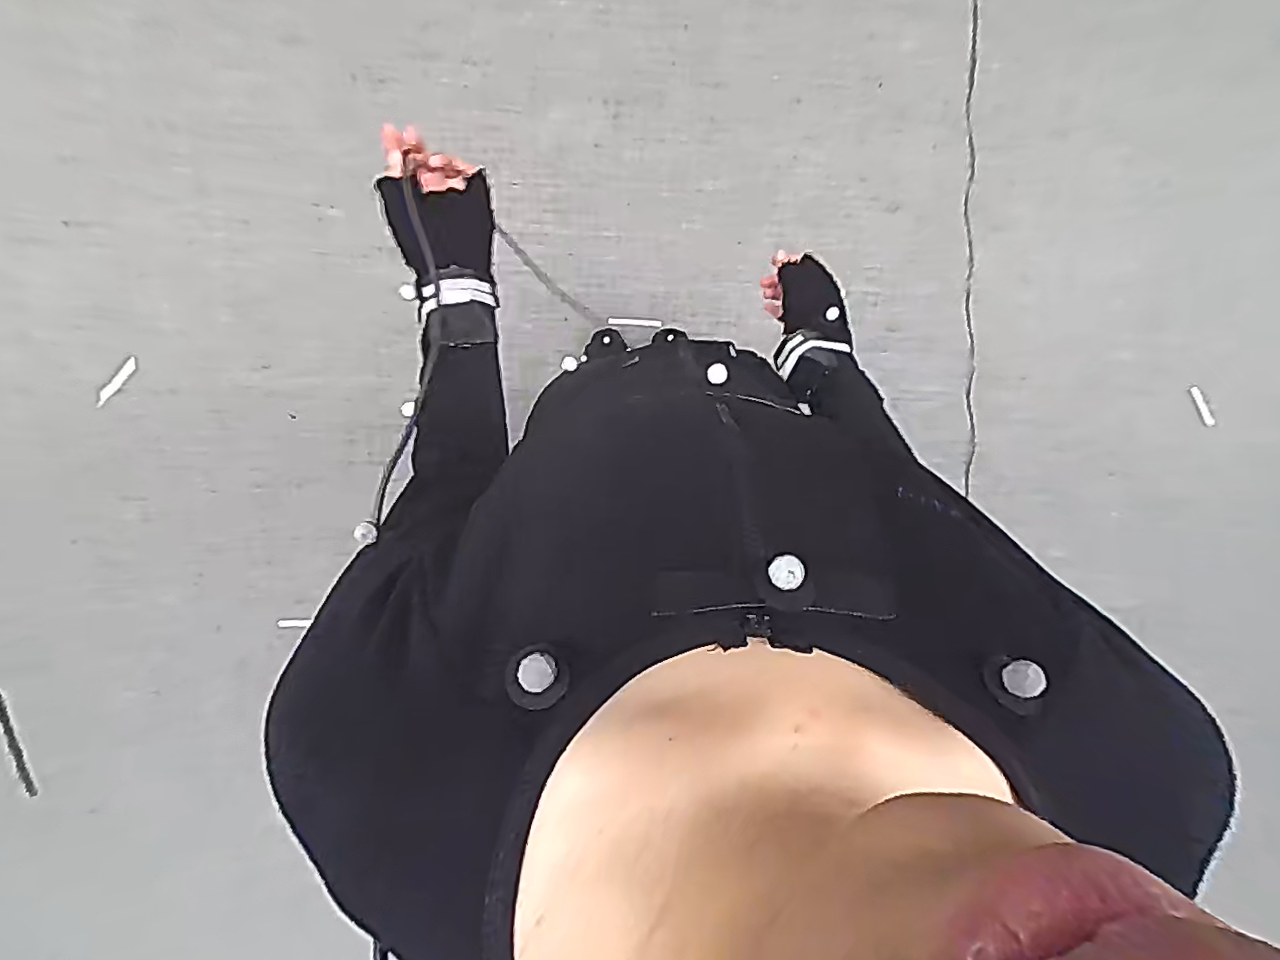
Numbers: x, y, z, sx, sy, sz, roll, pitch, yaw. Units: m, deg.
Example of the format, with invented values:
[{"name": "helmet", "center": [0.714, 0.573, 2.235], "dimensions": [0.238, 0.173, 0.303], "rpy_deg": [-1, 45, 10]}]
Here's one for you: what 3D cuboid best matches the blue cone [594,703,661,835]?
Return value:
[{"name": "blue cone", "center": [-0.032, 0.847, 1.563], "dimensions": [0.192, 0.380, 0.193], "rpy_deg": [18, 104, -7]}]
